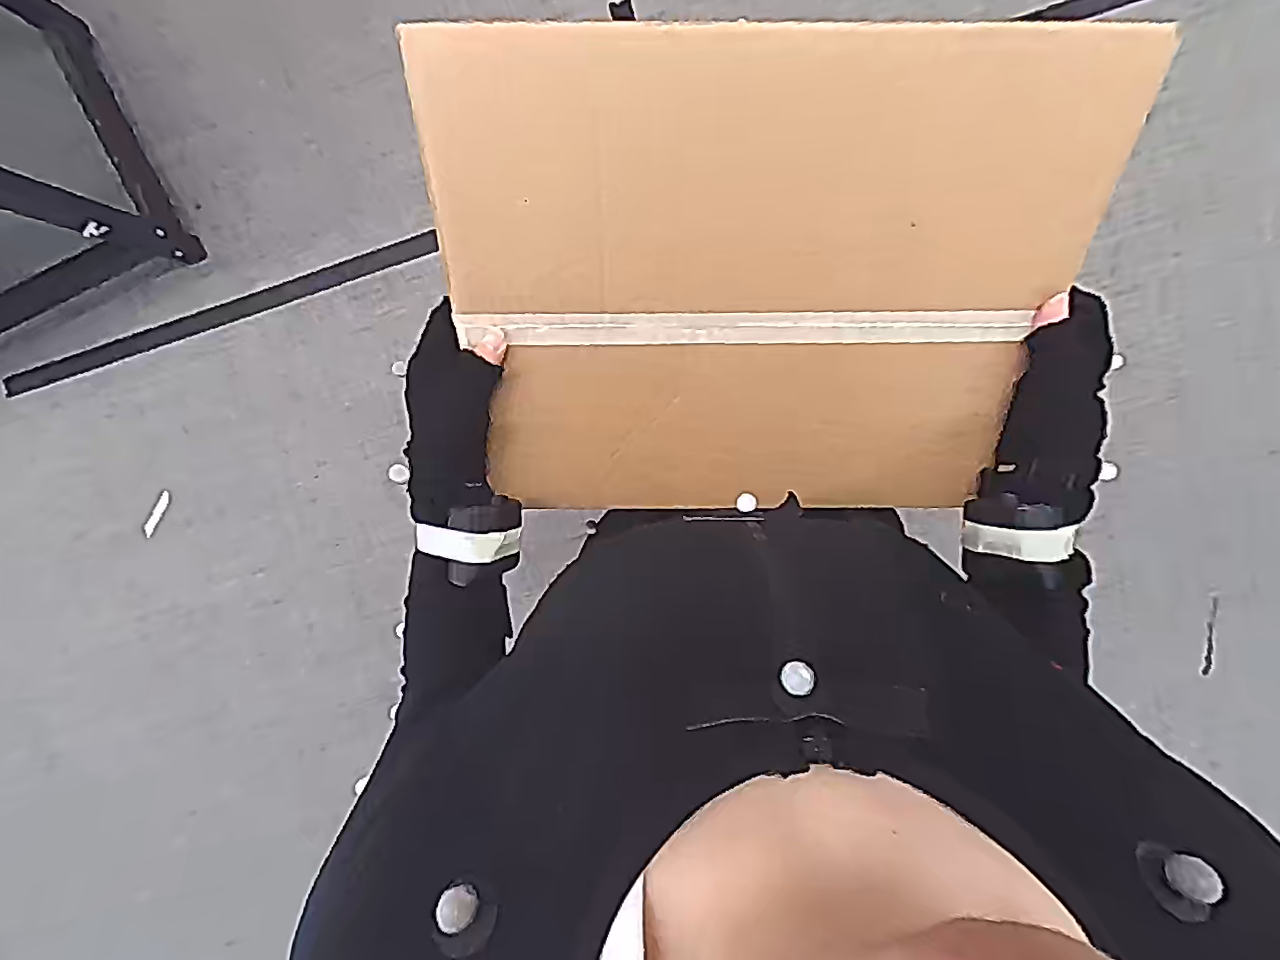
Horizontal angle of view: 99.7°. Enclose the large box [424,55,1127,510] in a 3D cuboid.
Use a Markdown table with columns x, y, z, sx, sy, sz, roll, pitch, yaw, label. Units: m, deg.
| x | y | z | sx | sy | sz | roll | pitch | yaw | label |
| --- | --- | --- | --- | --- | --- | --- | --- | --- | --- |
| 0.077 | -0.193 | 0.508 | 0.408 | 0.320 | 0.320 | -2 | 128 | -1 | large box |
